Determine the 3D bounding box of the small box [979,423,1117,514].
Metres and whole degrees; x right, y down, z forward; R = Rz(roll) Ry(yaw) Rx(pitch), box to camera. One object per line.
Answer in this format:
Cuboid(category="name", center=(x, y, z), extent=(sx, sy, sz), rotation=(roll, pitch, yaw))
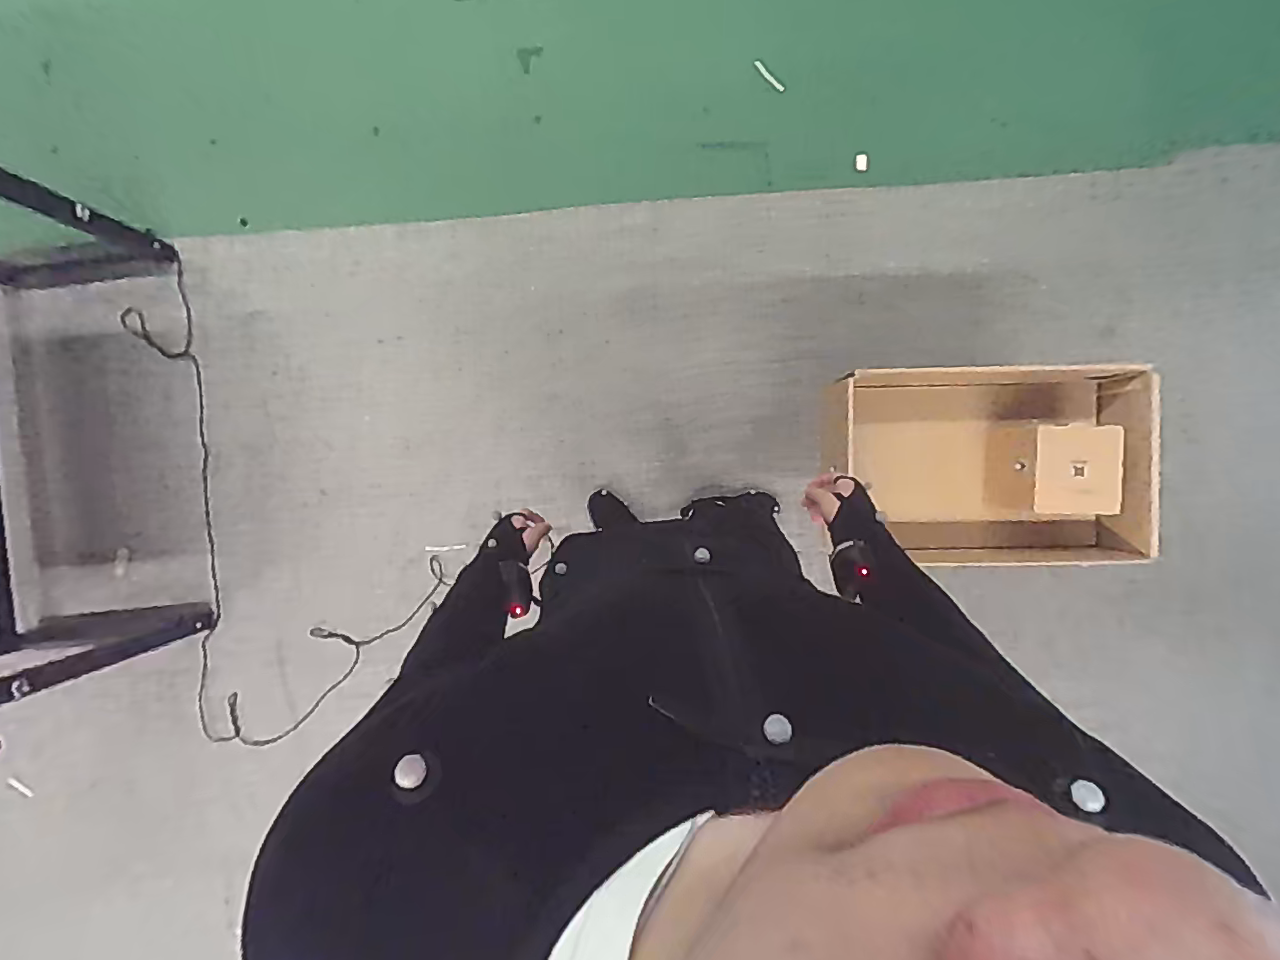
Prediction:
Cuboid(category="small box", center=(0.846, -0.025, 1.136), extent=(0.168, 0.176, 0.179), rotation=(1, 92, 0))
